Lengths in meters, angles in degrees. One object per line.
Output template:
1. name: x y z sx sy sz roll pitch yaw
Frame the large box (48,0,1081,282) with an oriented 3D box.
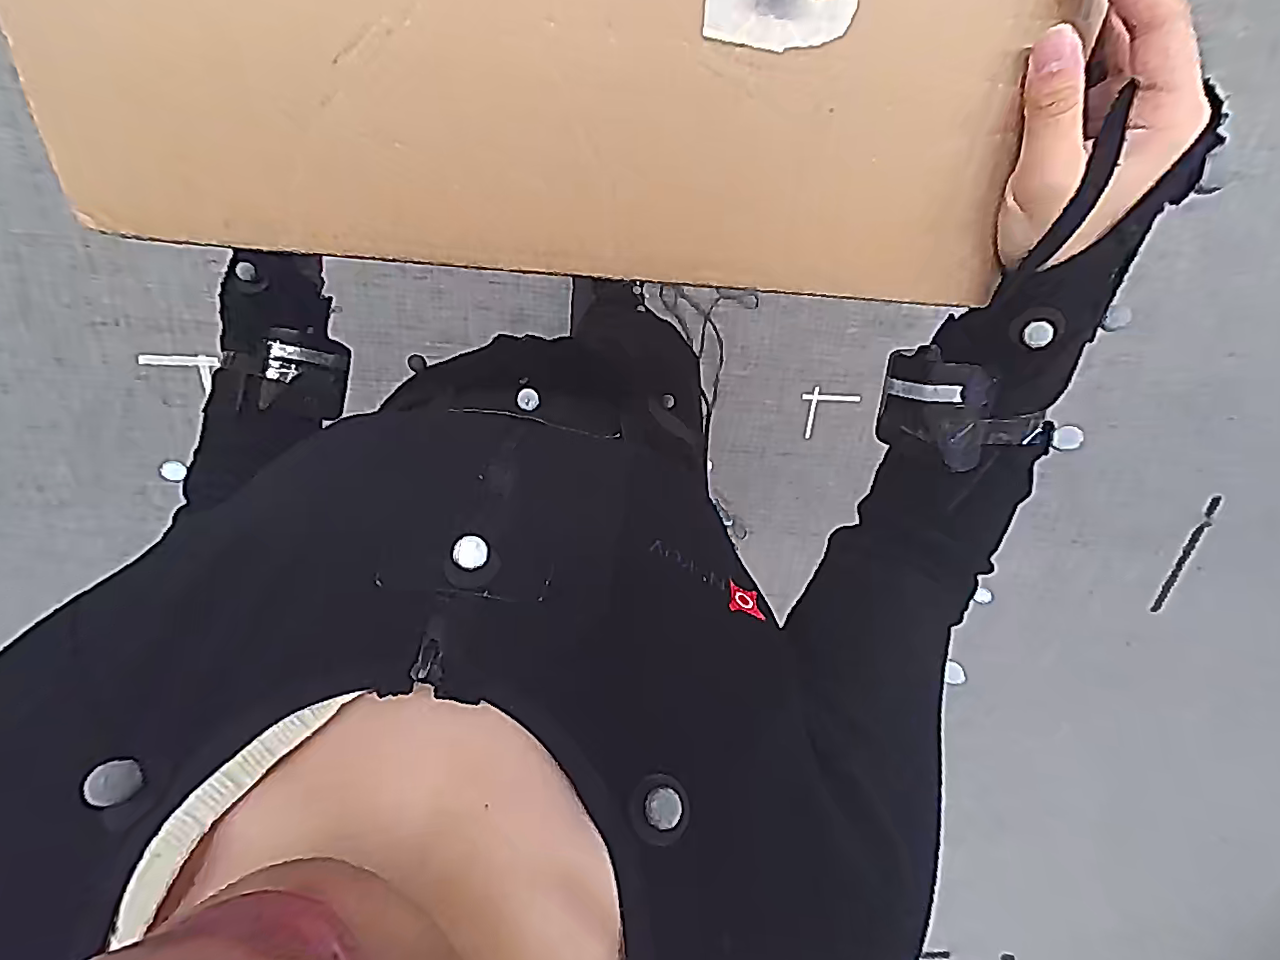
1. large box: -0.027 -0.308 0.315 0.408 0.320 0.320 1 119 -9
